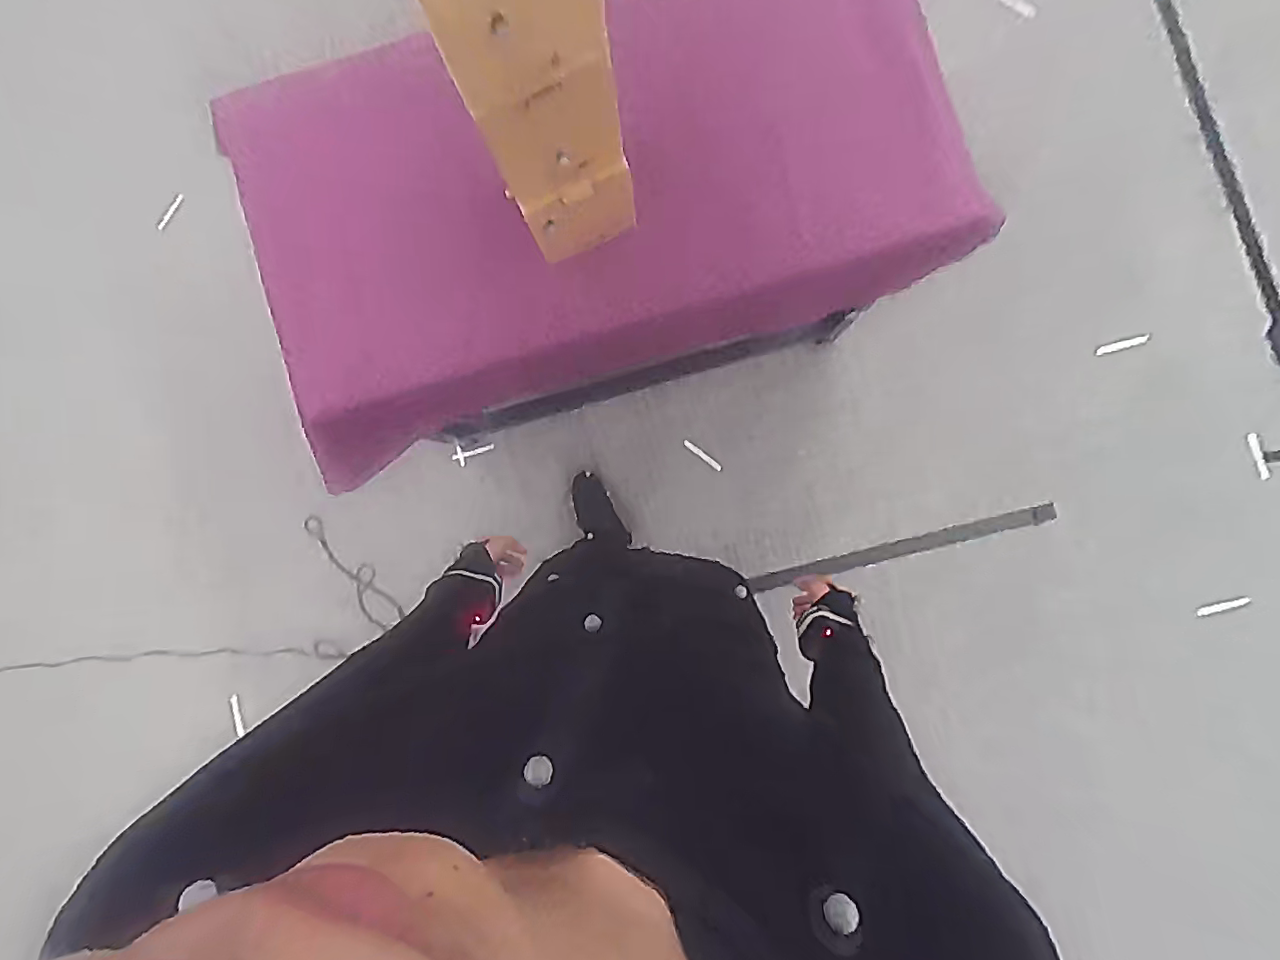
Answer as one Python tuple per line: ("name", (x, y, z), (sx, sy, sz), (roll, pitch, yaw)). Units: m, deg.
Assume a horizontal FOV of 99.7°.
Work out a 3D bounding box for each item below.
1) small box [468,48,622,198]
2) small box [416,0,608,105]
("small box", (-0.132, -0.501, 0.679), (0.168, 0.176, 0.179), (-22, 86, 2))
("small box", (-0.142, -0.506, 0.517), (0.168, 0.176, 0.179), (-25, 85, 2))
